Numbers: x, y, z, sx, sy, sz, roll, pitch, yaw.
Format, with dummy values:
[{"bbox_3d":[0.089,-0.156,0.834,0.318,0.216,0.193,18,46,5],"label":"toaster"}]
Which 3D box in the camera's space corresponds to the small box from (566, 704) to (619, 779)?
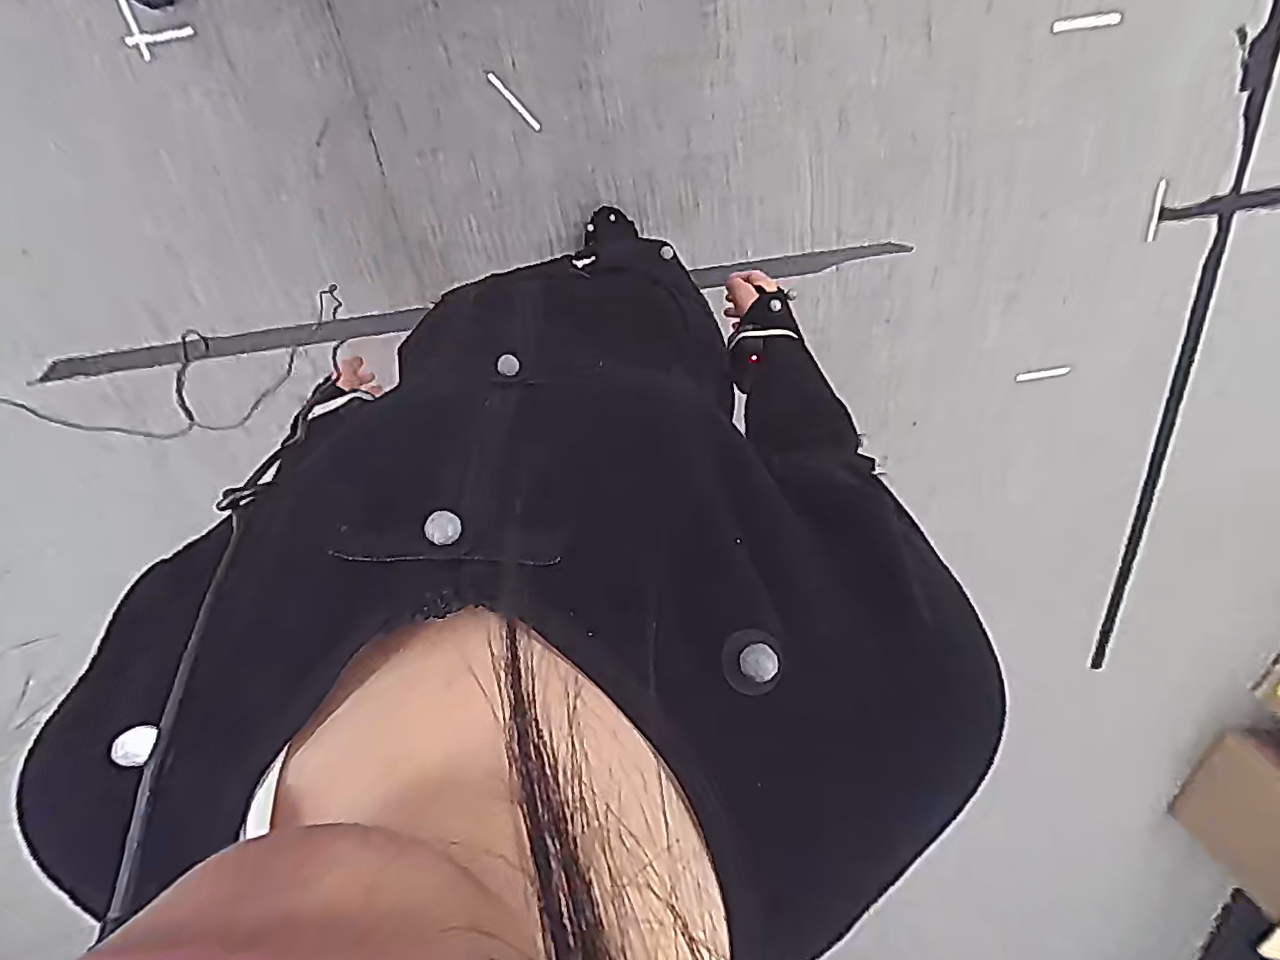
[{"bbox_3d":[-0.164,0.904,1.887,0.168,0.176,0.179,-6,116,0],"label":"small box"}]
